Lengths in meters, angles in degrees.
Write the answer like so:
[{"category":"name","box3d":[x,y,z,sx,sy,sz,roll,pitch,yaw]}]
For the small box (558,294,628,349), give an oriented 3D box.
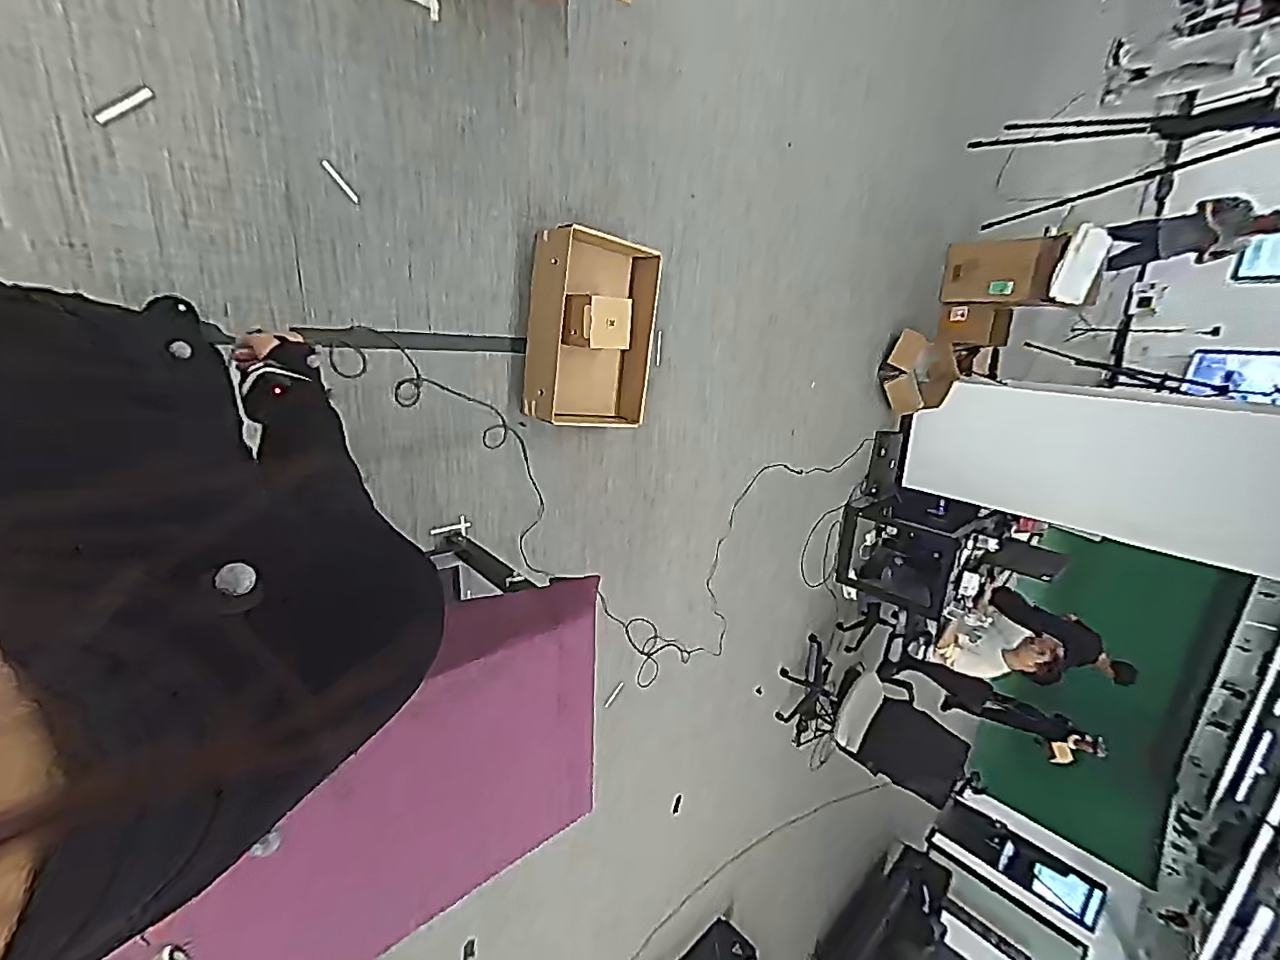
[{"category":"small box","box3d":[-0.163,-0.536,1.827,0.179,0.176,0.168,-10,112,-41]}]
